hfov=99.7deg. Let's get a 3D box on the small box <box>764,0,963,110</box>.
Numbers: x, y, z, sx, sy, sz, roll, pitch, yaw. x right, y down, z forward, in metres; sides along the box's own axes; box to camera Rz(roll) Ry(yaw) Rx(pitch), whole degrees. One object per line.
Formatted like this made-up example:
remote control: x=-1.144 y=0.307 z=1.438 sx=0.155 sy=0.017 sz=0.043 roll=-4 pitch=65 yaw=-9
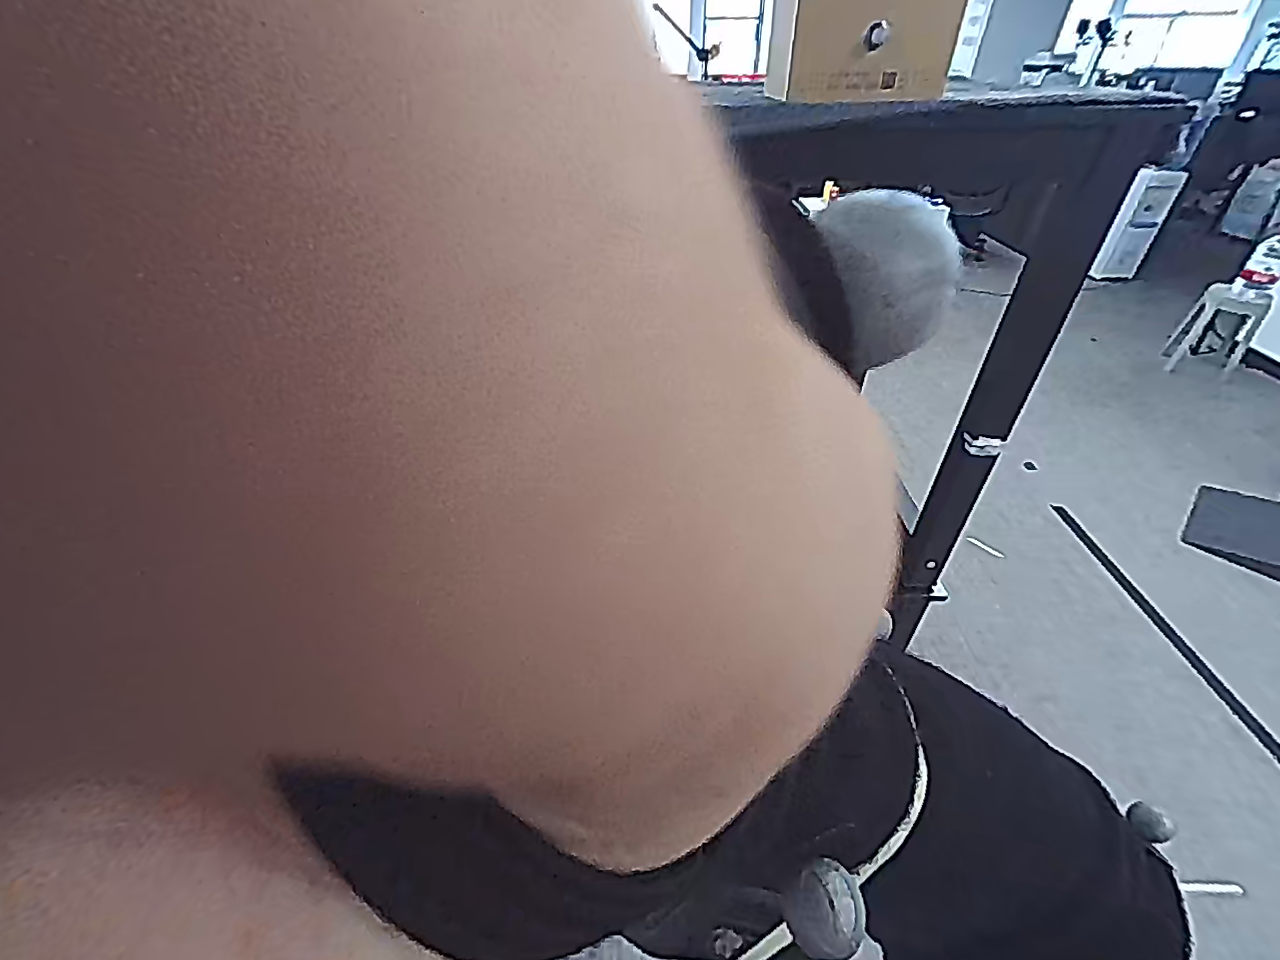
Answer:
small box: x=0.237 y=-0.516 z=0.596 sx=0.168 sy=0.176 sz=0.179 roll=0 pitch=37 yaw=3
